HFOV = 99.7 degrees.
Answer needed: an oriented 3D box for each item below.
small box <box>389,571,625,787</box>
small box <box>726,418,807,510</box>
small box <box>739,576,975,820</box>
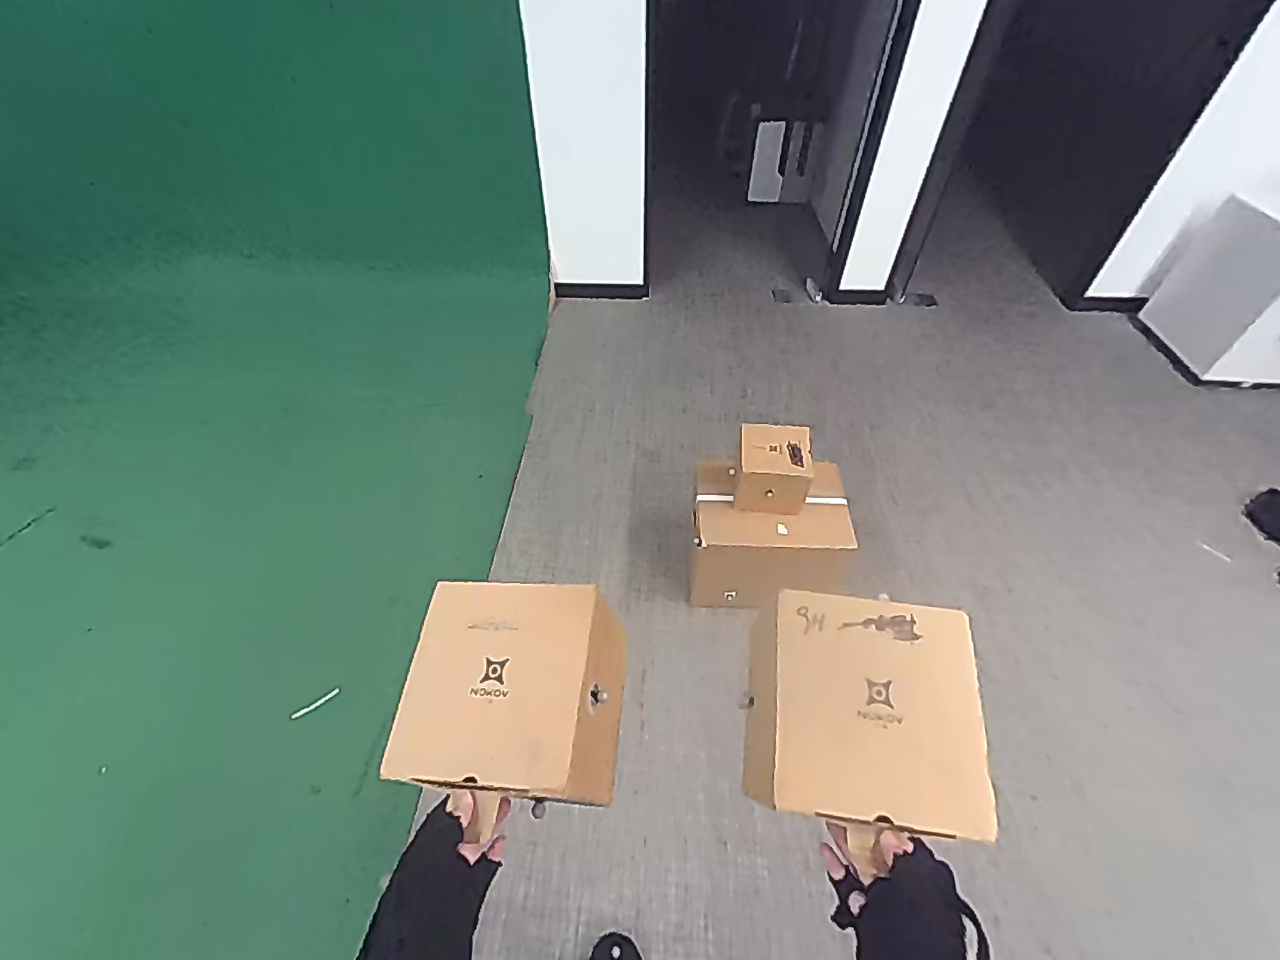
[{"bbox_3d":[-0.115,0.207,0.554,0.168,0.176,0.179,-1,56,10],"label":"small box"},{"bbox_3d":[0.331,-0.037,1.427,0.179,0.176,0.168,7,52,5],"label":"small box"},{"bbox_3d":[0.192,0.209,0.529,0.168,0.176,0.179,6,65,4],"label":"small box"}]
